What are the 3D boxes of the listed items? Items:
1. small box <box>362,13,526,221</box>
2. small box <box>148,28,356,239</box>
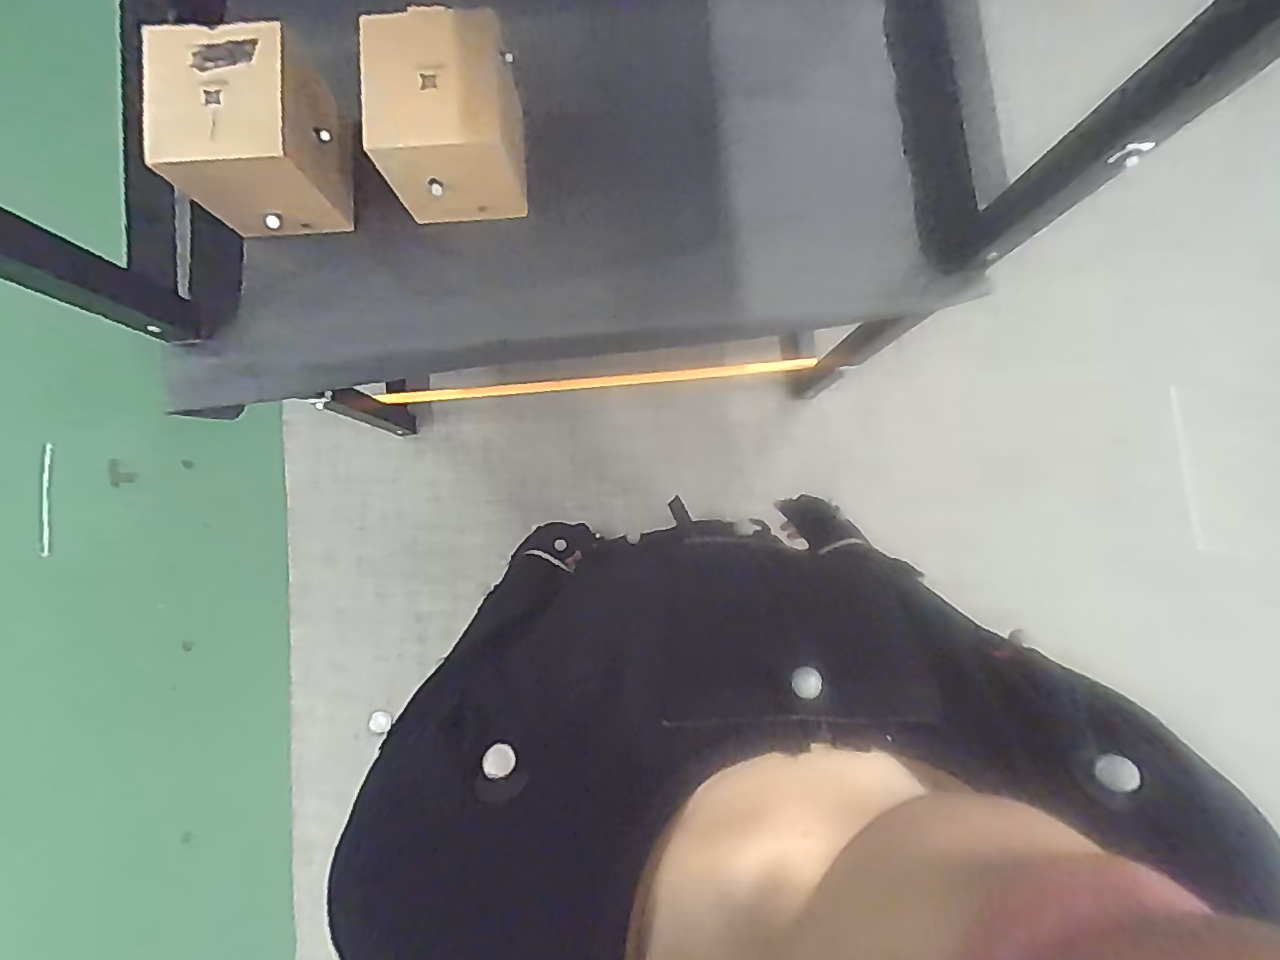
[{"bbox_3d":[-0.254,-0.475,0.736,0.168,0.176,0.179,-4,85,-1],"label":"small box"},{"bbox_3d":[-0.506,-0.454,0.729,0.168,0.176,0.179,-4,86,-1],"label":"small box"}]
